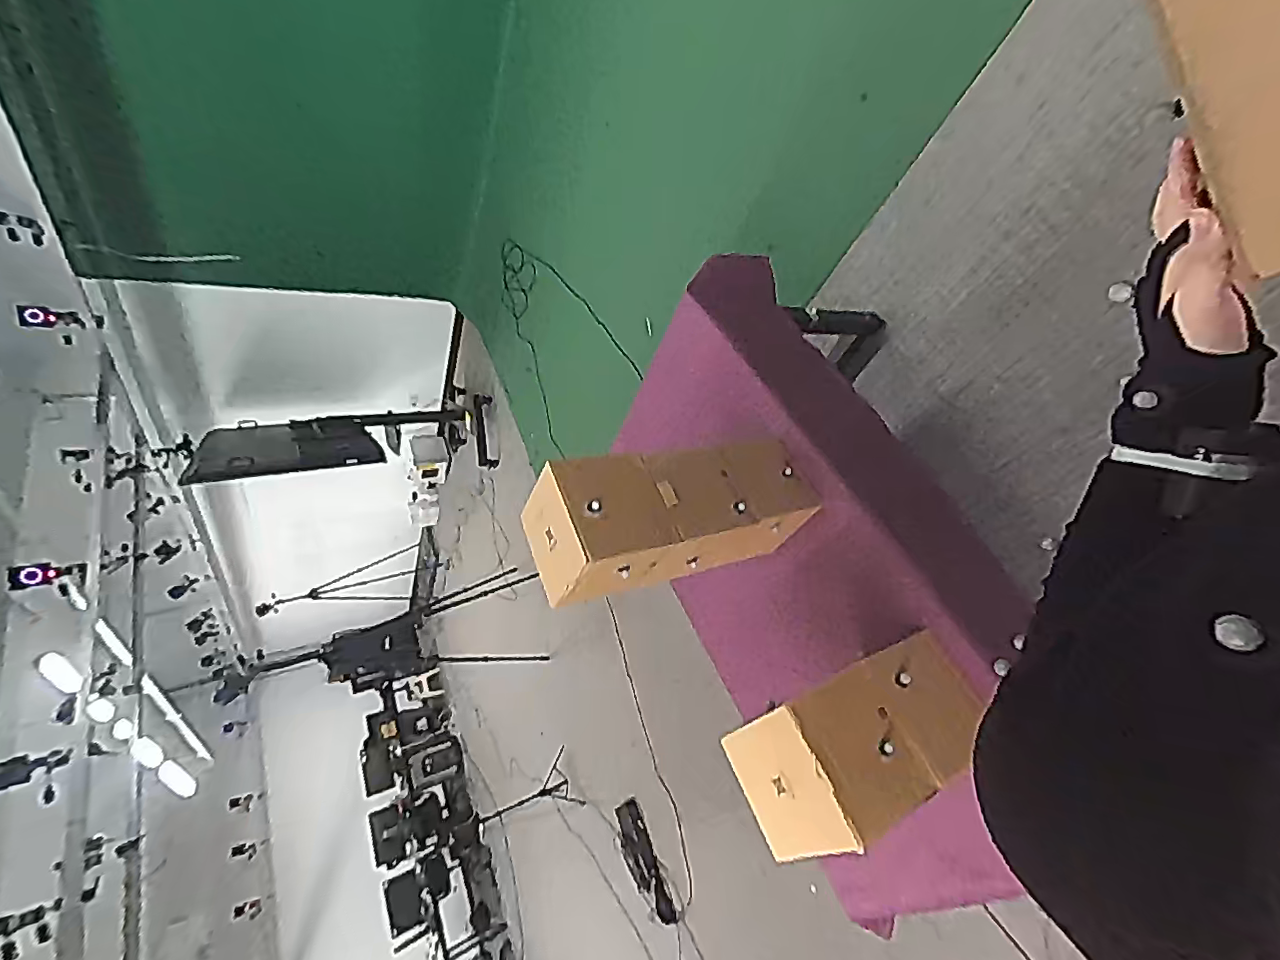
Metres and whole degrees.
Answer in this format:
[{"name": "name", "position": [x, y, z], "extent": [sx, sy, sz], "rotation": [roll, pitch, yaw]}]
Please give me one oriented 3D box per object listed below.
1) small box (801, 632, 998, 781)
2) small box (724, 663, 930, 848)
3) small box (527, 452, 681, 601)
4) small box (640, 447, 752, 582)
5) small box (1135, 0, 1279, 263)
[{"name": "small box", "position": [0.394, 0.352, 0.835], "extent": [0.179, 0.176, 0.168], "rotation": [63, 144, 27]}, {"name": "small box", "position": [0.255, 0.379, 0.754], "extent": [0.168, 0.176, 0.179], "rotation": [64, 143, 27]}, {"name": "small box", "position": [-0.060, 0.070, 0.873], "extent": [0.168, 0.176, 0.179], "rotation": [-53, 53, 47]}, {"name": "small box", "position": [0.075, 0.056, 0.963], "extent": [0.168, 0.176, 0.179], "rotation": [65, 145, 25]}, {"name": "small box", "position": [0.343, -0.230, 0.237], "extent": [0.168, 0.176, 0.179], "rotation": [-19, 103, 48]}]
